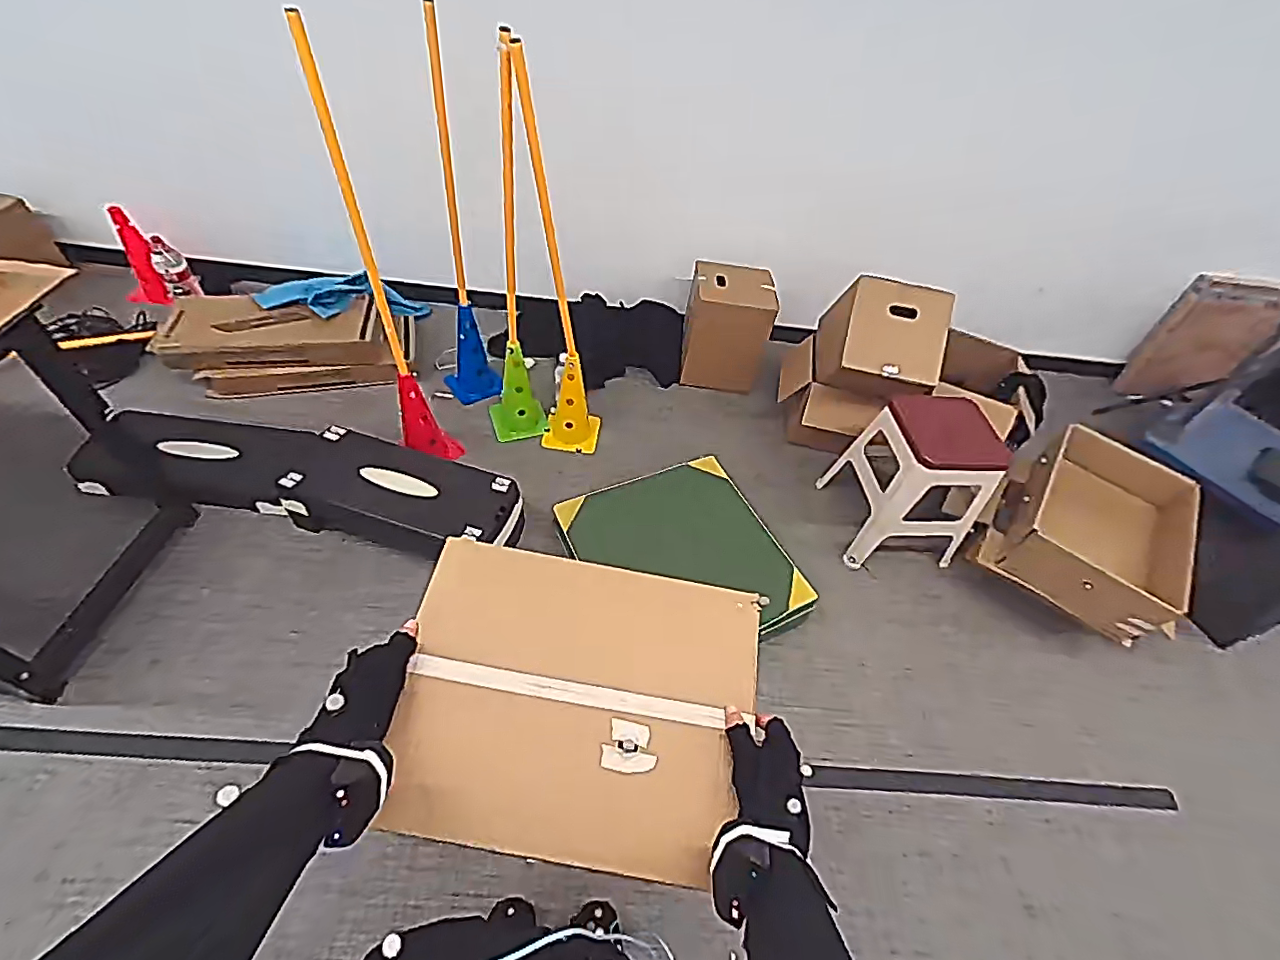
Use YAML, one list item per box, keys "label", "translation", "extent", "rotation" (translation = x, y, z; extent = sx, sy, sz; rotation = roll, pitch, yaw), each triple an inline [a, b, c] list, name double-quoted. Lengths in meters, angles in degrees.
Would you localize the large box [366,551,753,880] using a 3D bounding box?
- label: "large box"
  translation: [-0.084, 0.329, 0.755]
  extent: [0.408, 0.320, 0.320]
  rotation: [11, 59, -1]
